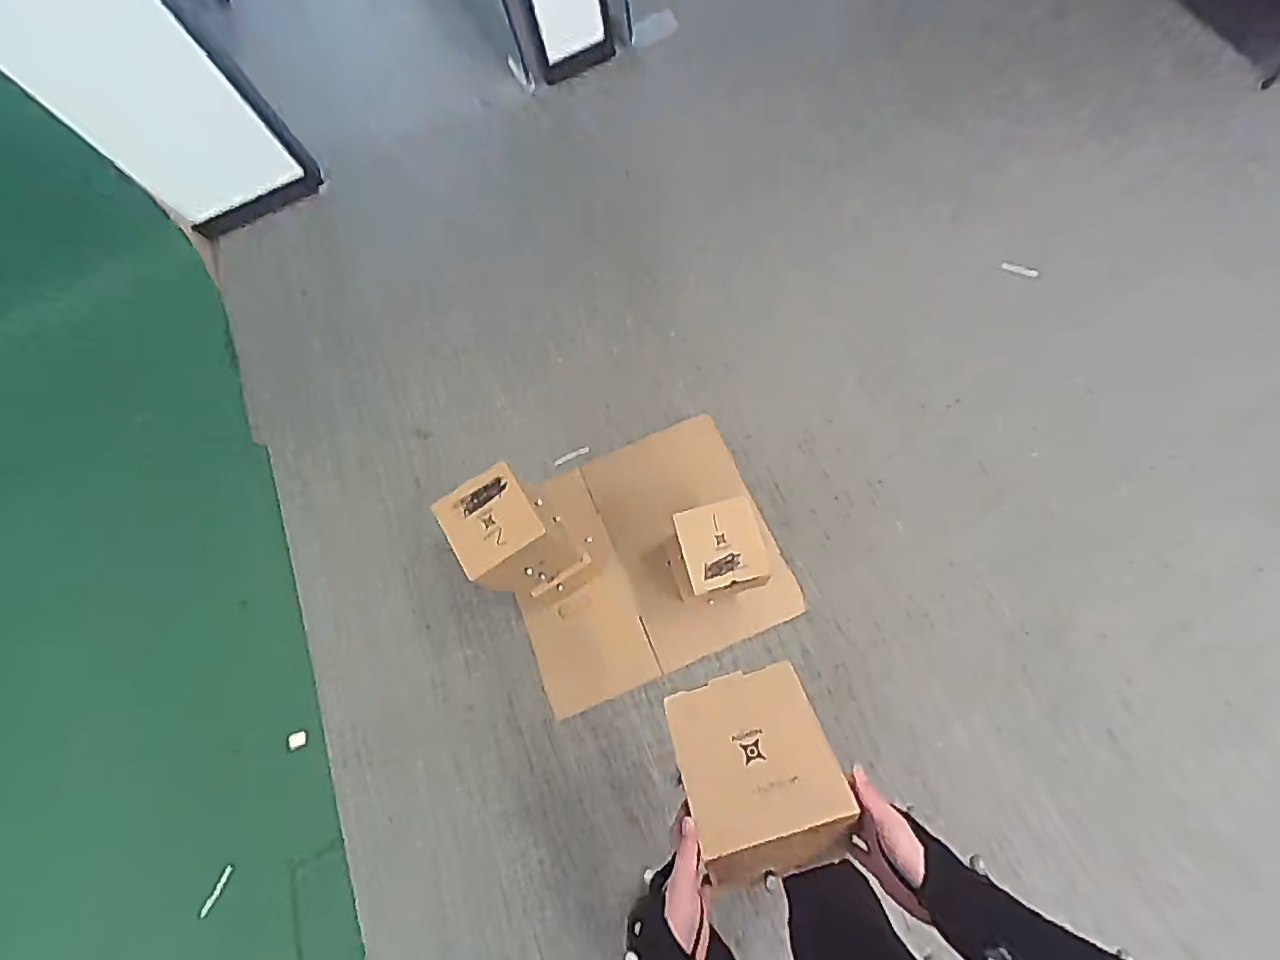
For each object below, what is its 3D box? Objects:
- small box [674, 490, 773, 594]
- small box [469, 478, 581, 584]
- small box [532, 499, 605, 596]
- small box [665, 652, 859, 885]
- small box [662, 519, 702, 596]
[{"bbox_3d":[0.179,0.142,1.171,0.168,0.176,0.179,-15,70,3],"label":"small box"},{"bbox_3d":[-0.255,0.126,1.239,0.168,0.176,0.179,-30,70,-3],"label":"small box"},{"bbox_3d":[-0.210,0.180,1.390,0.168,0.176,0.179,-31,71,-3],"label":"small box"},{"bbox_3d":[0.137,0.343,0.647,0.168,0.176,0.179,-16,41,-2],"label":"small box"},{"bbox_3d":[0.164,0.180,1.336,0.168,0.176,0.179,-20,70,2],"label":"small box"}]
